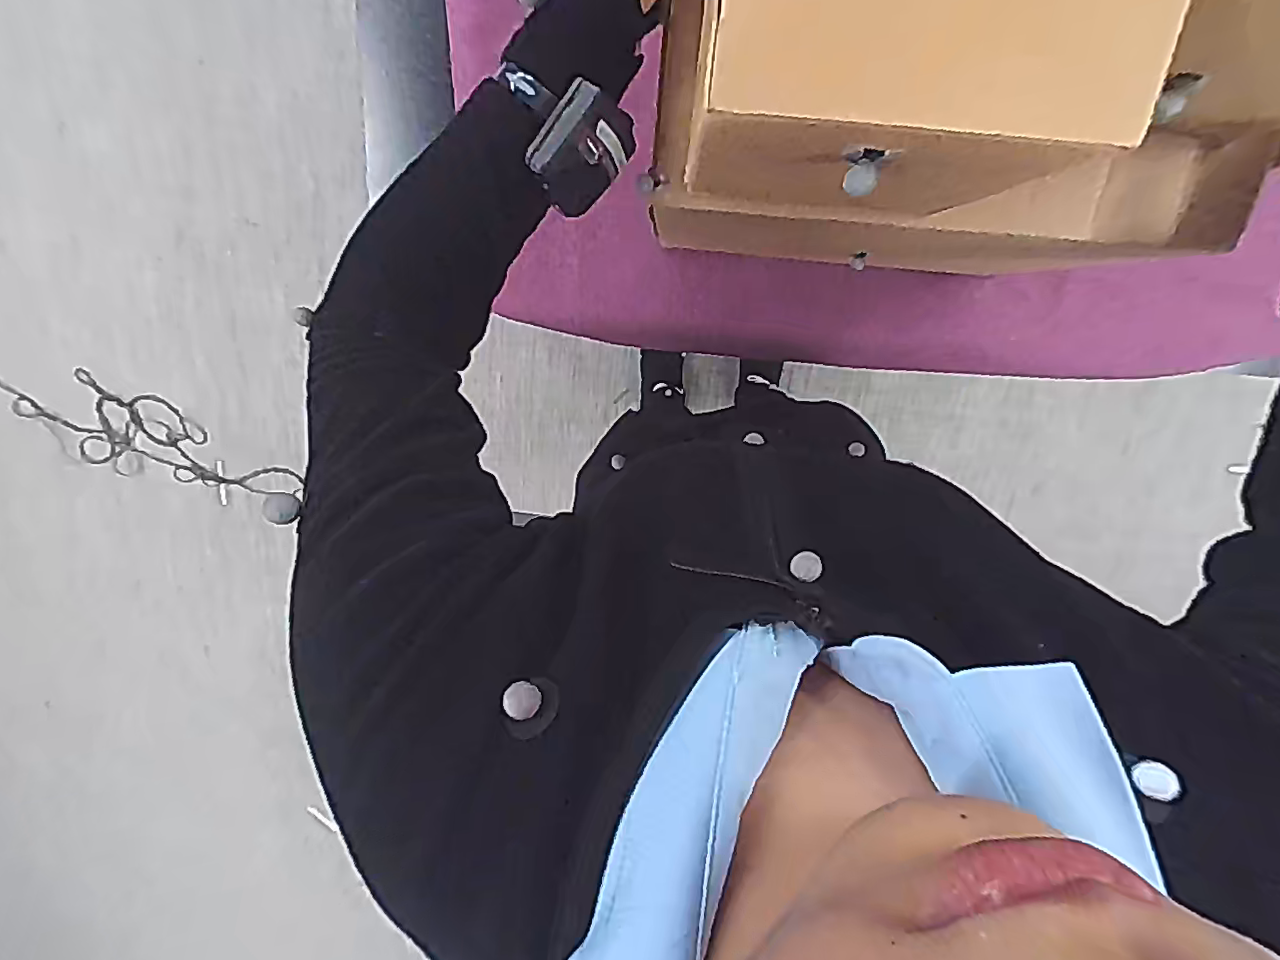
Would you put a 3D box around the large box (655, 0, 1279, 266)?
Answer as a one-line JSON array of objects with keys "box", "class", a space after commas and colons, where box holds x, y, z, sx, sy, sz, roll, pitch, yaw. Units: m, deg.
[{"box": [0.230, -0.367, 0.470, 0.408, 0.320, 0.320, 5, 107, 3], "class": "large box"}]
